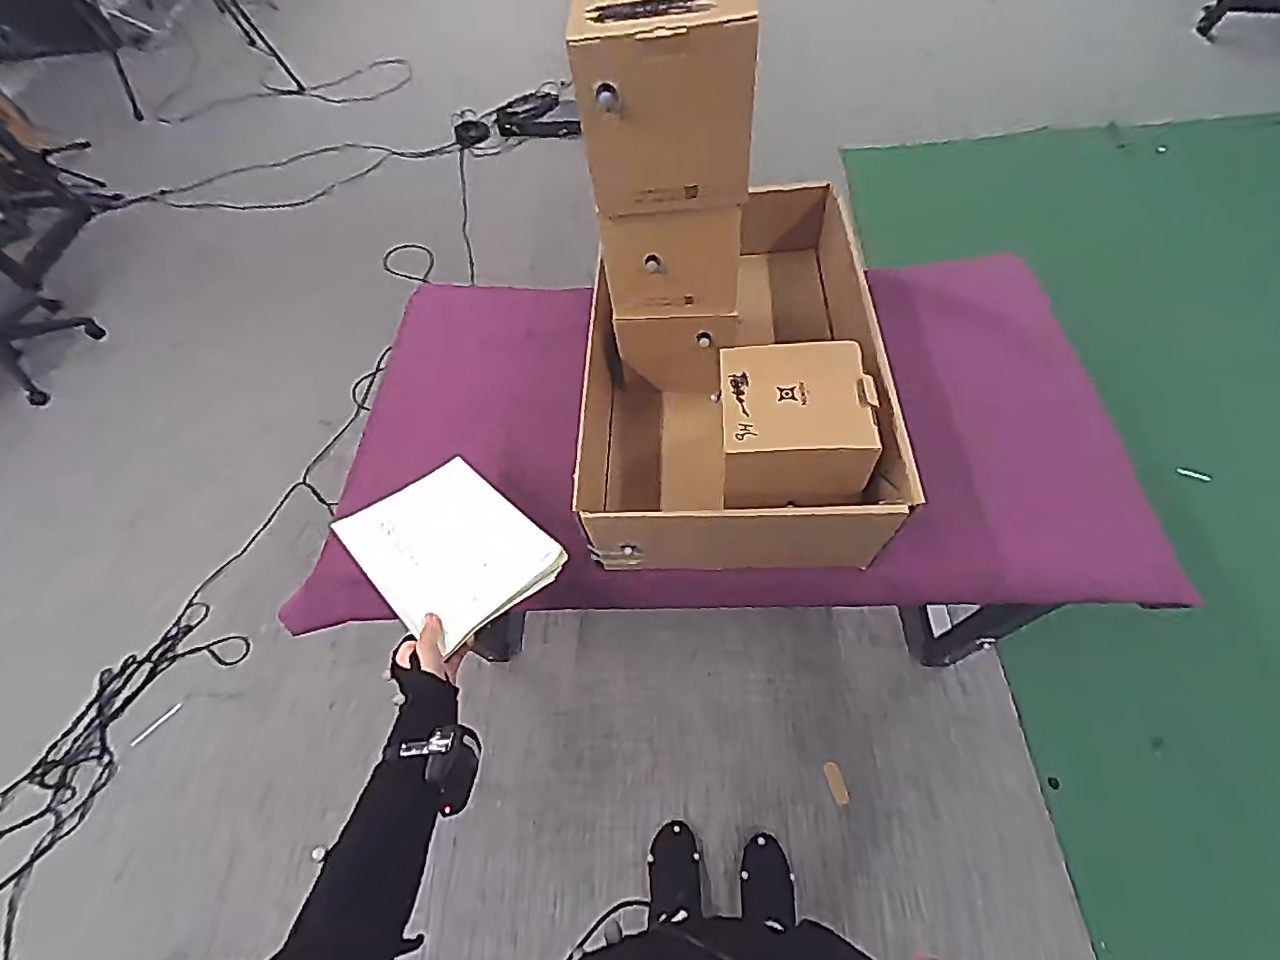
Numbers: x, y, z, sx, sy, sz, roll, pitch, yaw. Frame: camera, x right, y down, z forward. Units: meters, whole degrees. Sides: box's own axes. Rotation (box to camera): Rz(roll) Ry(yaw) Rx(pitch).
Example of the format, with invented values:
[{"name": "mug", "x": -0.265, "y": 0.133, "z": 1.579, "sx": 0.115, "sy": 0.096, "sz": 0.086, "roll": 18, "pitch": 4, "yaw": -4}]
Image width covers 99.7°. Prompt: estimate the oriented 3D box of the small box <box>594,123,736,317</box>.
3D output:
[{"name": "small box", "x": 0.042, "y": -0.333, "z": 0.719, "sx": 0.168, "sy": 0.176, "sz": 0.179, "roll": -1, "pitch": 60, "yaw": 7}]
